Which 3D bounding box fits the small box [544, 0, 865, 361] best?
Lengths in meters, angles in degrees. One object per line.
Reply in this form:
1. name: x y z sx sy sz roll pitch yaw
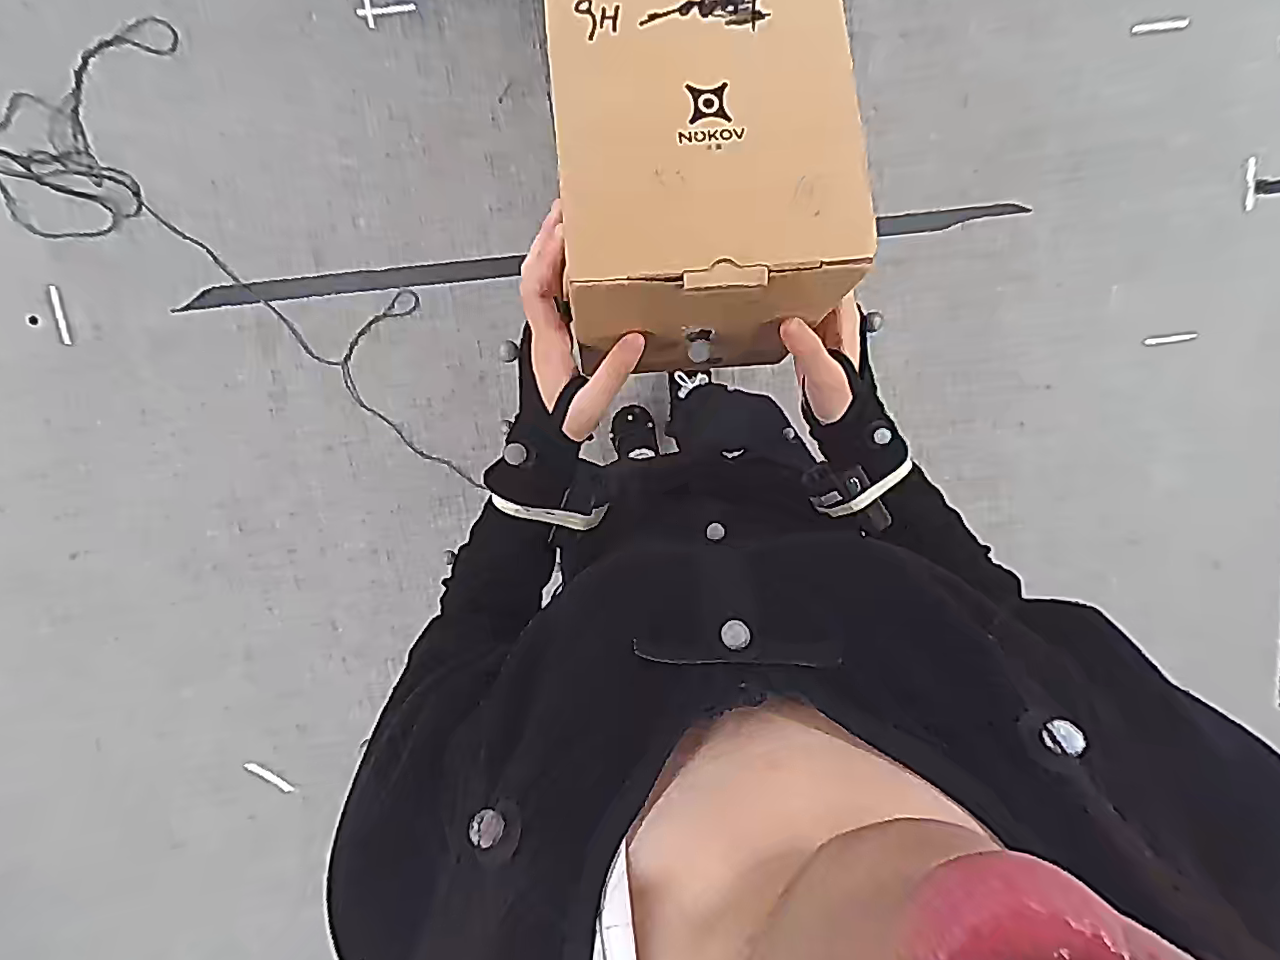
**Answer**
1. small box: 0.031 -0.188 0.372 0.168 0.176 0.179 -5 85 -3
